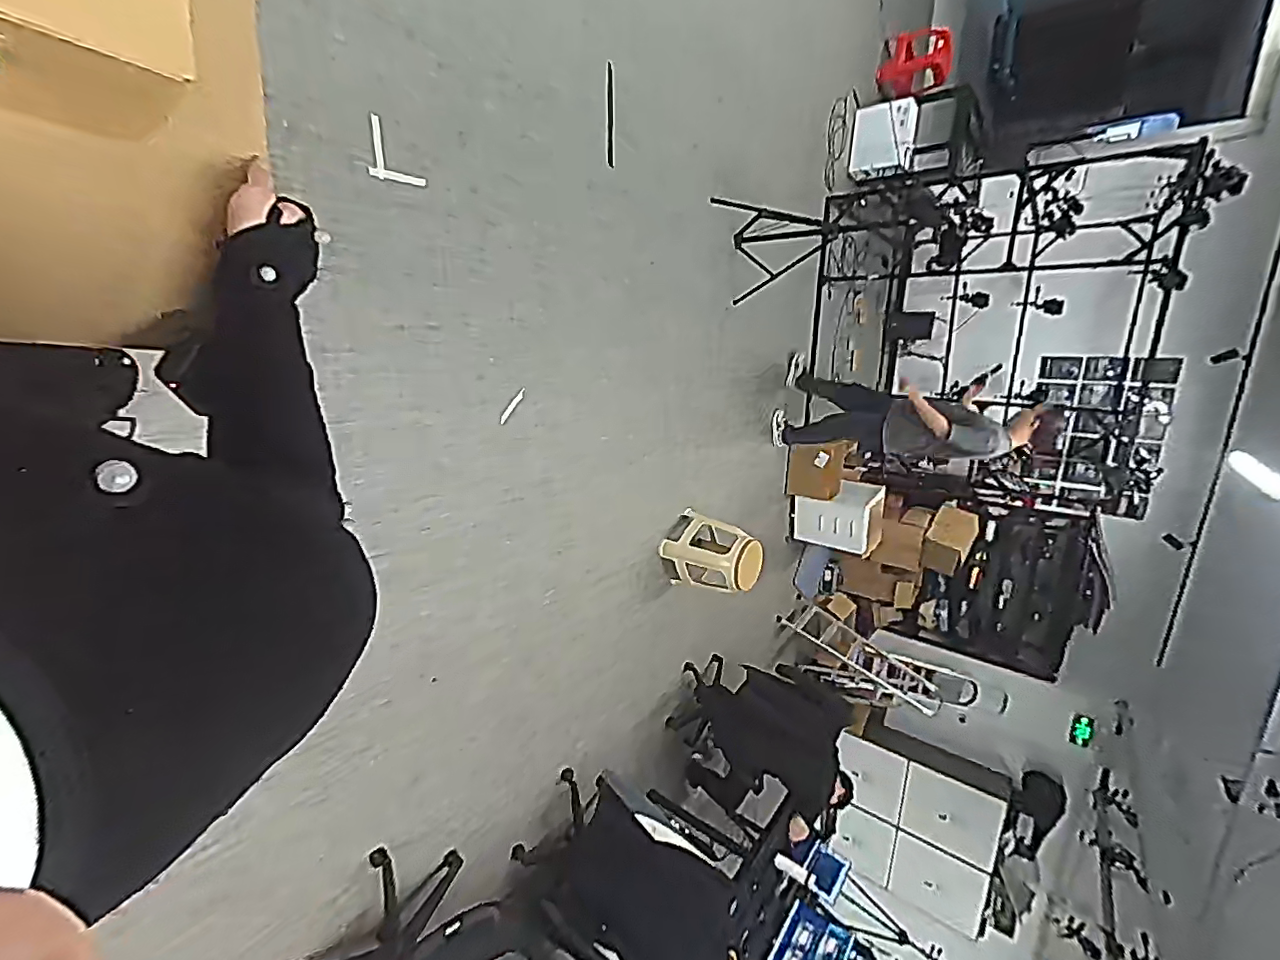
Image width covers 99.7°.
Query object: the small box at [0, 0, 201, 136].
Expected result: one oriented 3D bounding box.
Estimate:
[{"bbox_3d":[-0.415,-0.349,0.343,0.179,0.176,0.168,-9,104,-49],"label":"small box"}]
